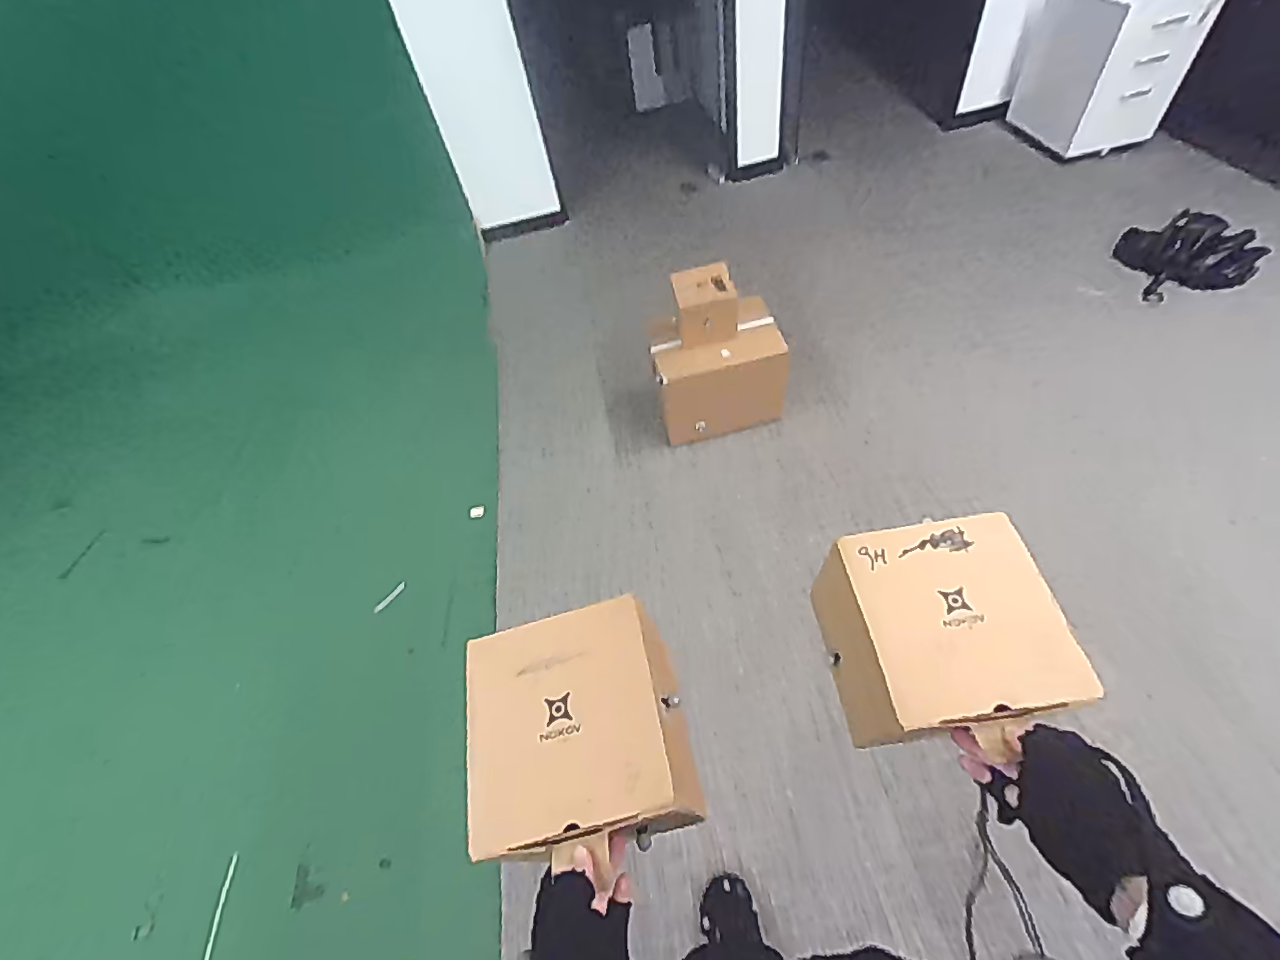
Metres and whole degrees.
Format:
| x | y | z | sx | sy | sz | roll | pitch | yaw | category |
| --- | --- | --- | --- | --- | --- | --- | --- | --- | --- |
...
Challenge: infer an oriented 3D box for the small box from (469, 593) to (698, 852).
| x | y | z | sx | sy | sz | roll | pitch | yaw | category |
| --- | --- | --- | --- | --- | --- | --- | --- | --- | --- |
| -0.051 | 0.241 | 0.528 | 0.168 | 0.176 | 0.179 | -18 | 53 | 4 | small box |

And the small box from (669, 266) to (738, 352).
| x | y | z | sx | sy | sz | roll | pitch | yaw | category |
| --- | --- | --- | --- | --- | --- | --- | --- | --- | --- |
| 0.197 | -0.527 | 1.682 | 0.179 | 0.176 | 0.168 | -14 | 58 | 0 | small box |
